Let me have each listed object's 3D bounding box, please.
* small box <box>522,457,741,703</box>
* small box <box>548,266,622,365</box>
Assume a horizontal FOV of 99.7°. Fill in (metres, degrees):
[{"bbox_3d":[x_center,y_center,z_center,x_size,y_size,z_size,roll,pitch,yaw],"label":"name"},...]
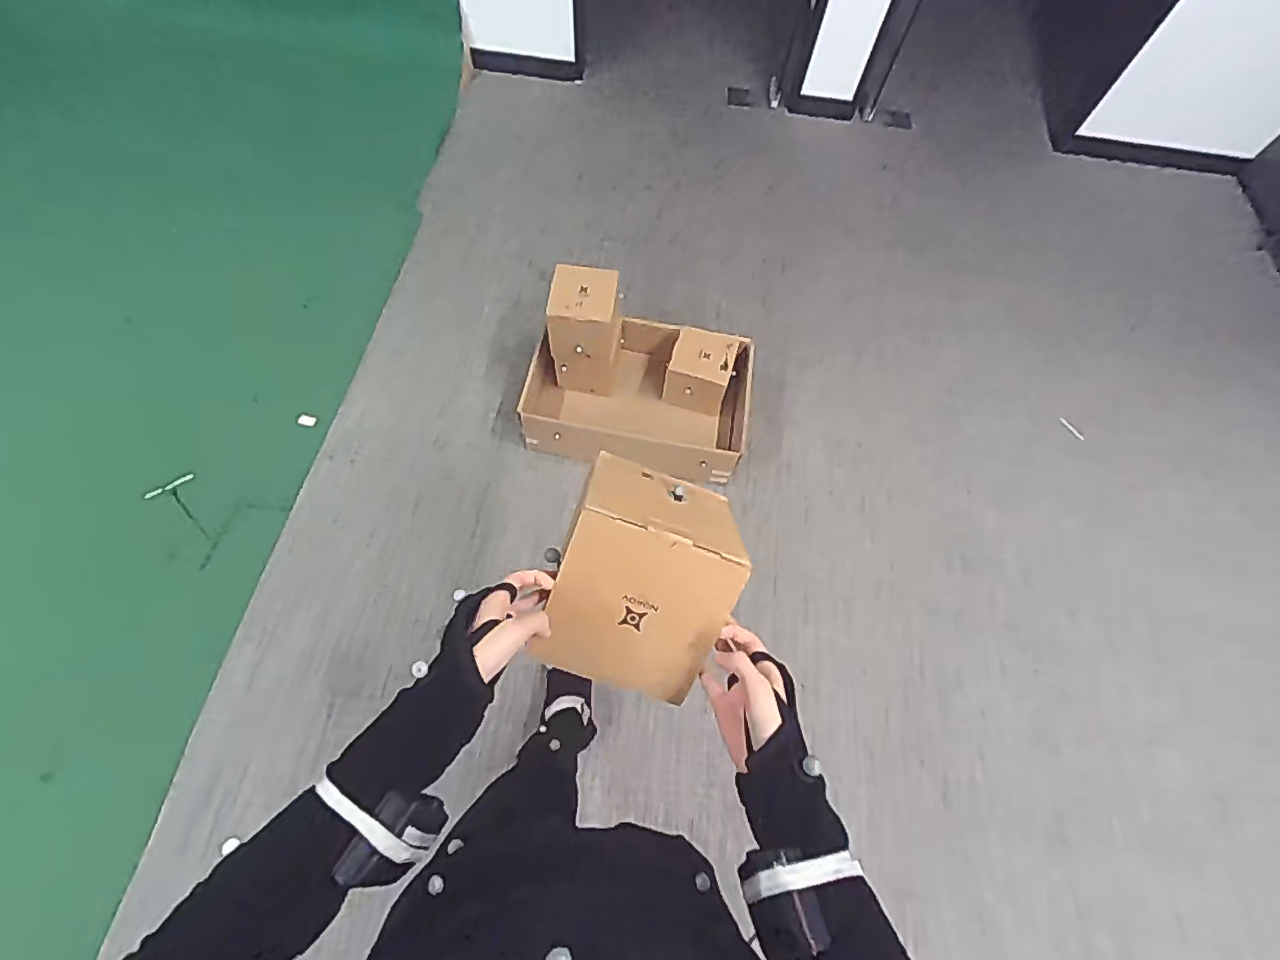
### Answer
[{"bbox_3d":[-0.009,0.097,0.589,0.168,0.176,0.179,21,107,-5],"label":"small box"},{"bbox_3d":[-0.141,-0.437,1.446,0.168,0.176,0.179,7,66,1],"label":"small box"}]
